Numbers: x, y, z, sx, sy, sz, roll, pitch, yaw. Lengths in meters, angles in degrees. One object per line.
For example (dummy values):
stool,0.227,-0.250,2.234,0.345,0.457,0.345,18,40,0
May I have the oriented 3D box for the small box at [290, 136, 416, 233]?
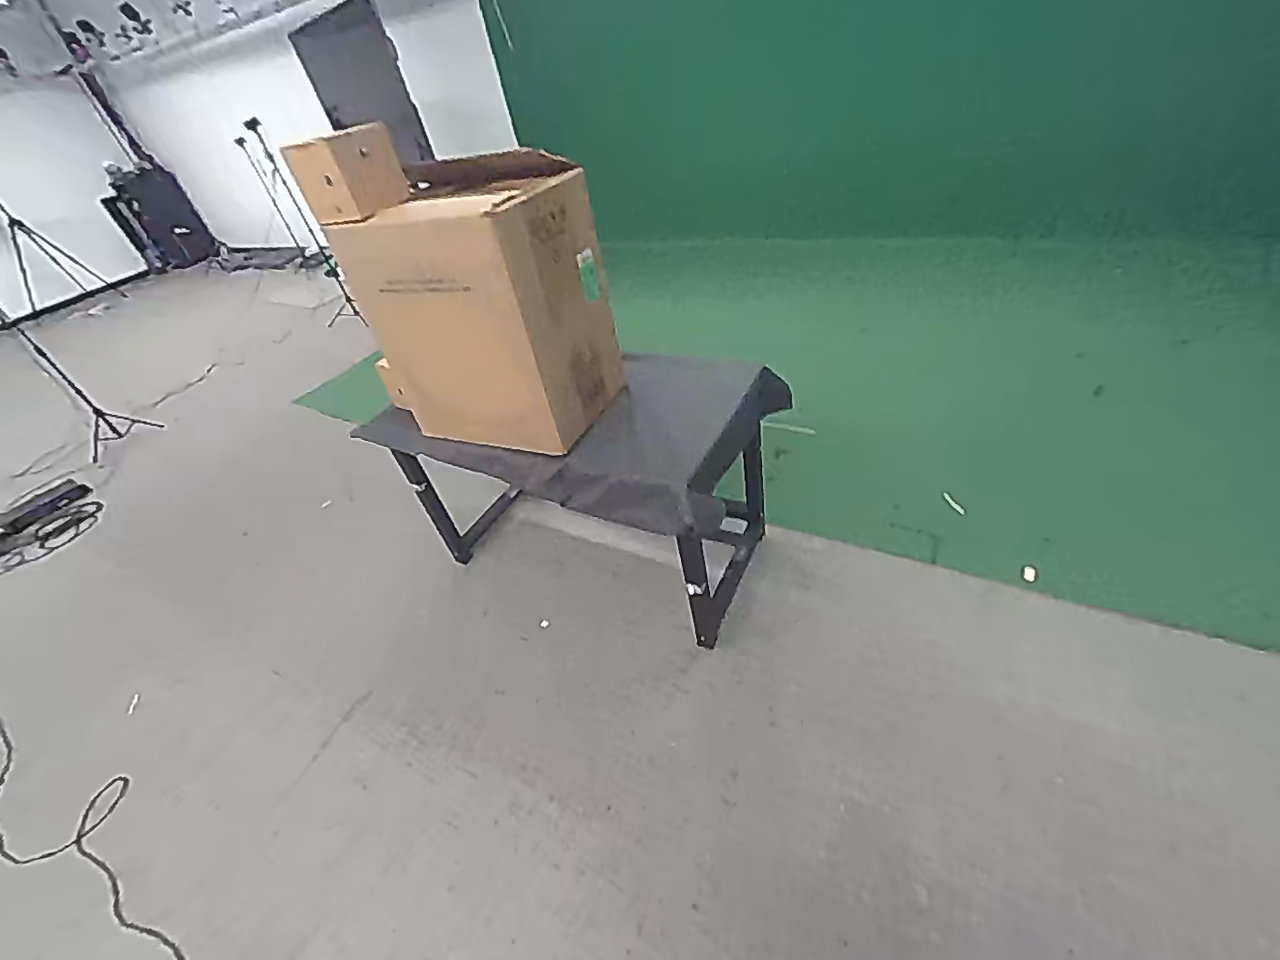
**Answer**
small box,-0.685,-0.709,1.312,0.168,0.176,0.179,9,43,26
